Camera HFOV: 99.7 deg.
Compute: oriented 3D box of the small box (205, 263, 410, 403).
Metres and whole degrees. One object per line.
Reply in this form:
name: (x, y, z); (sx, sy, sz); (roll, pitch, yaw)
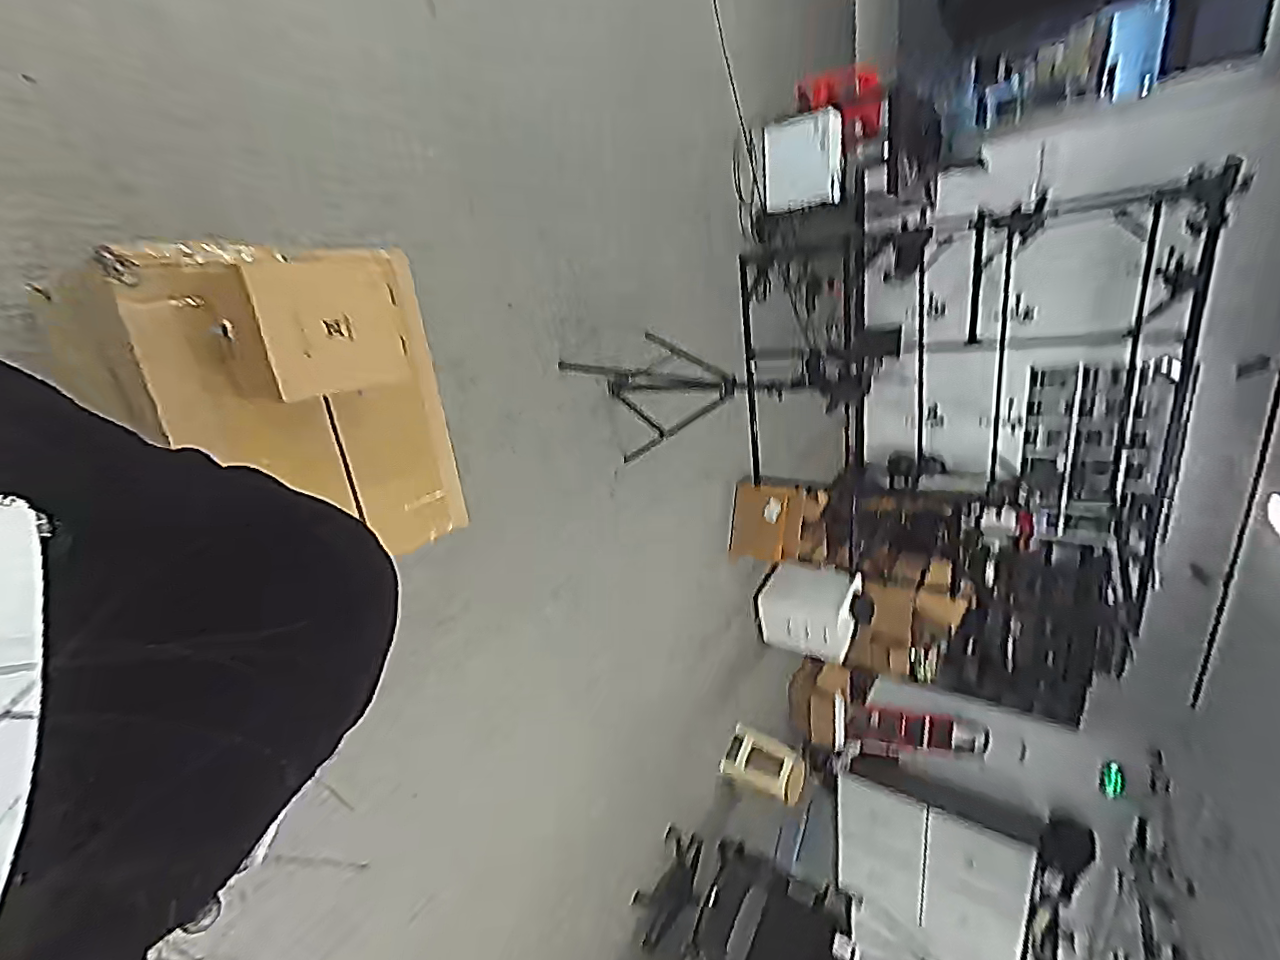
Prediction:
small box: (-0.460, -0.207, 0.756); (0.179, 0.176, 0.168); (-26, 115, -45)
